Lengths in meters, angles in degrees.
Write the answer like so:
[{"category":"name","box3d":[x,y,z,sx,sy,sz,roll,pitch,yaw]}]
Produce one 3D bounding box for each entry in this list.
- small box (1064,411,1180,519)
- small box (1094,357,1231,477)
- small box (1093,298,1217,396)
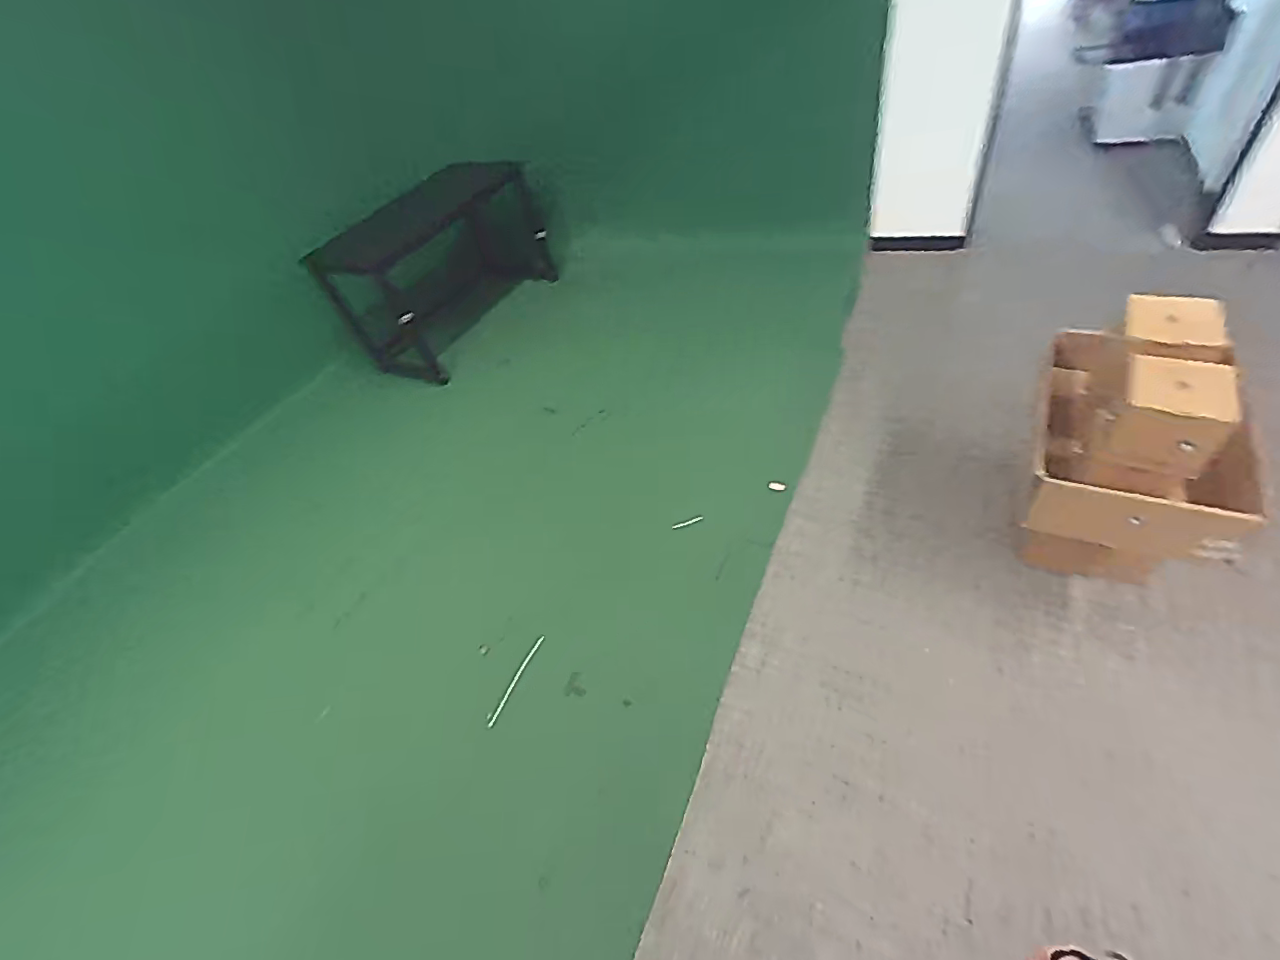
[{"category":"small box","box3d":[1.138,-0.034,1.284,0.168,0.176,0.179,15,53,27]},{"category":"small box","box3d":[1.108,-0.133,1.158,0.168,0.176,0.179,18,55,28]},{"category":"small box","box3d":[1.218,-0.308,1.290,0.168,0.176,0.179,15,56,27]}]
